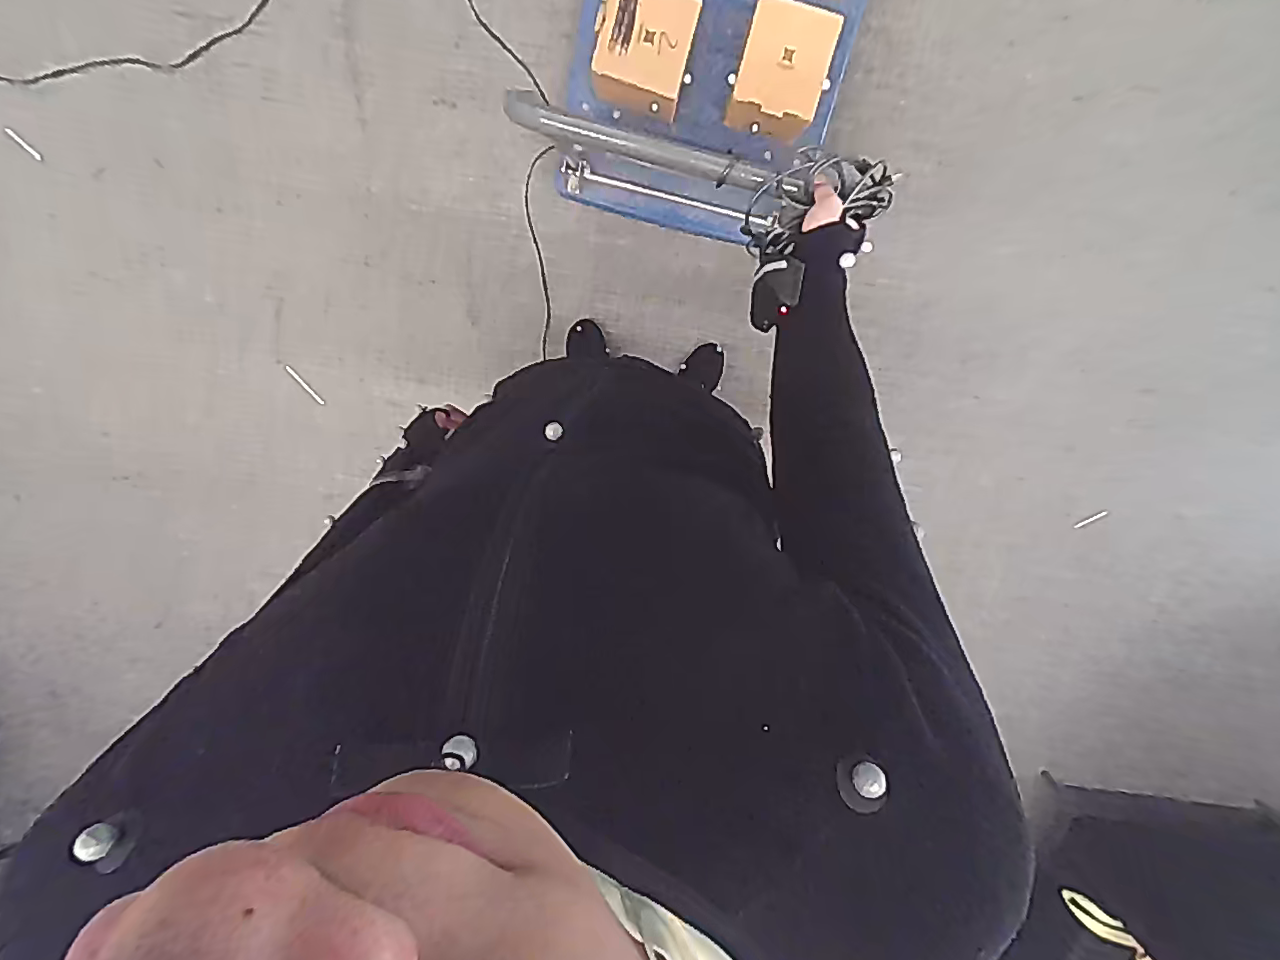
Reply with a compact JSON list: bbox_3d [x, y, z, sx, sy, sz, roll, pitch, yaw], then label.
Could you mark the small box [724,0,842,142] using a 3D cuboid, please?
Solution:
[{"bbox_3d":[0.278,-0.823,1.100,0.168,0.176,0.179,14,110,-3],"label":"small box"}]
